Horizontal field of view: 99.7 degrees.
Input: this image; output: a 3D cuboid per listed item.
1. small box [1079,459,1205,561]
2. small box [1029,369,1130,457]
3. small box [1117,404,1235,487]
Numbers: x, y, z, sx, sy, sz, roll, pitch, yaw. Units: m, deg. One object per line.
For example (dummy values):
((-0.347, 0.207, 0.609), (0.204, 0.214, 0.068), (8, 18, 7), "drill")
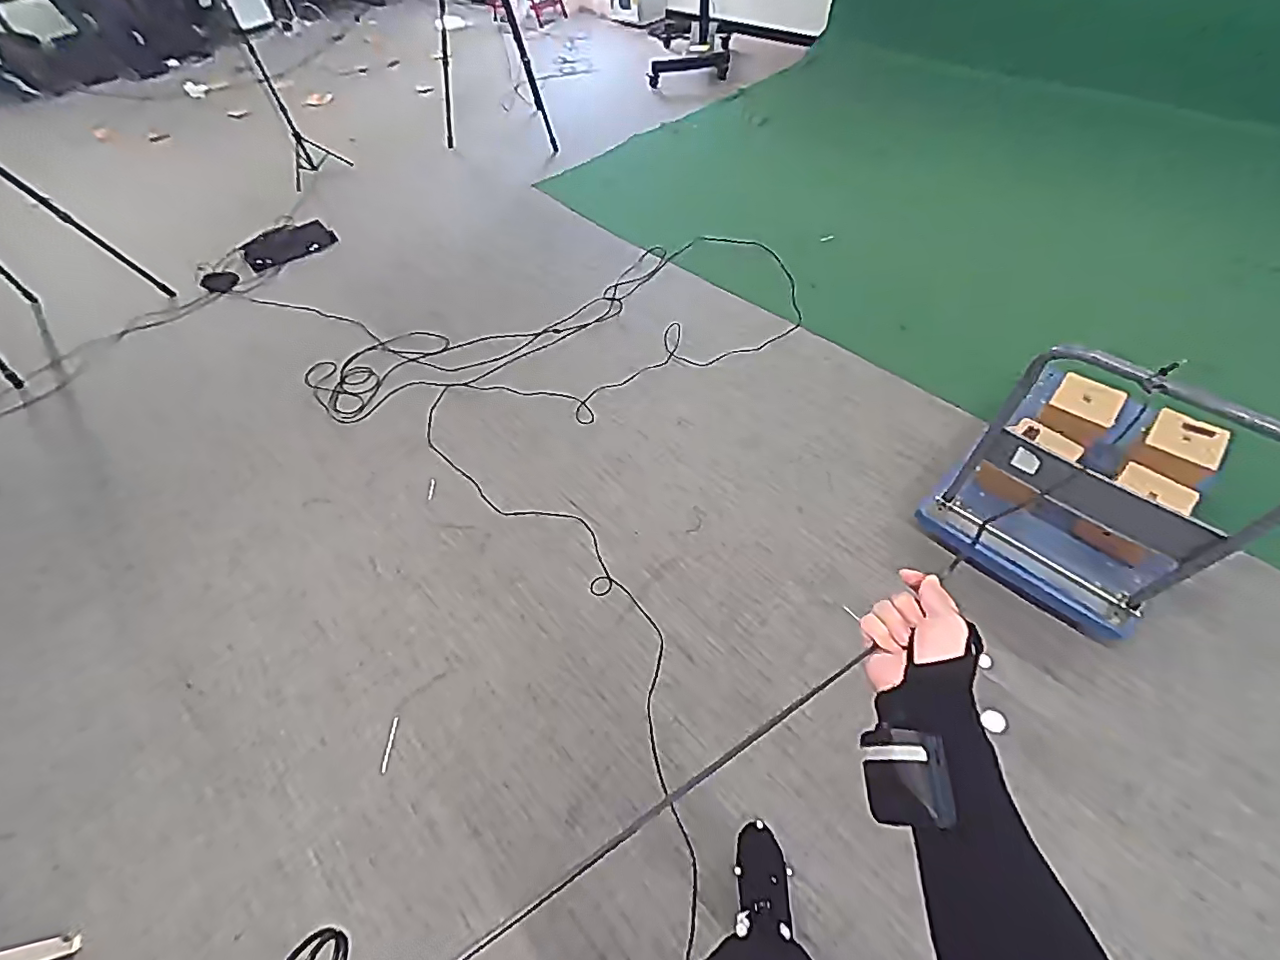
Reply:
((1.345, 0.082, 1.462), (0.179, 0.176, 0.168), (-40, 59, -20), "small box")
((1.350, -0.204, 1.673), (0.168, 0.176, 0.179), (34, 64, 26), "small box")
((1.537, -0.080, 1.560), (0.168, 0.176, 0.179), (34, 65, 28), "small box")
